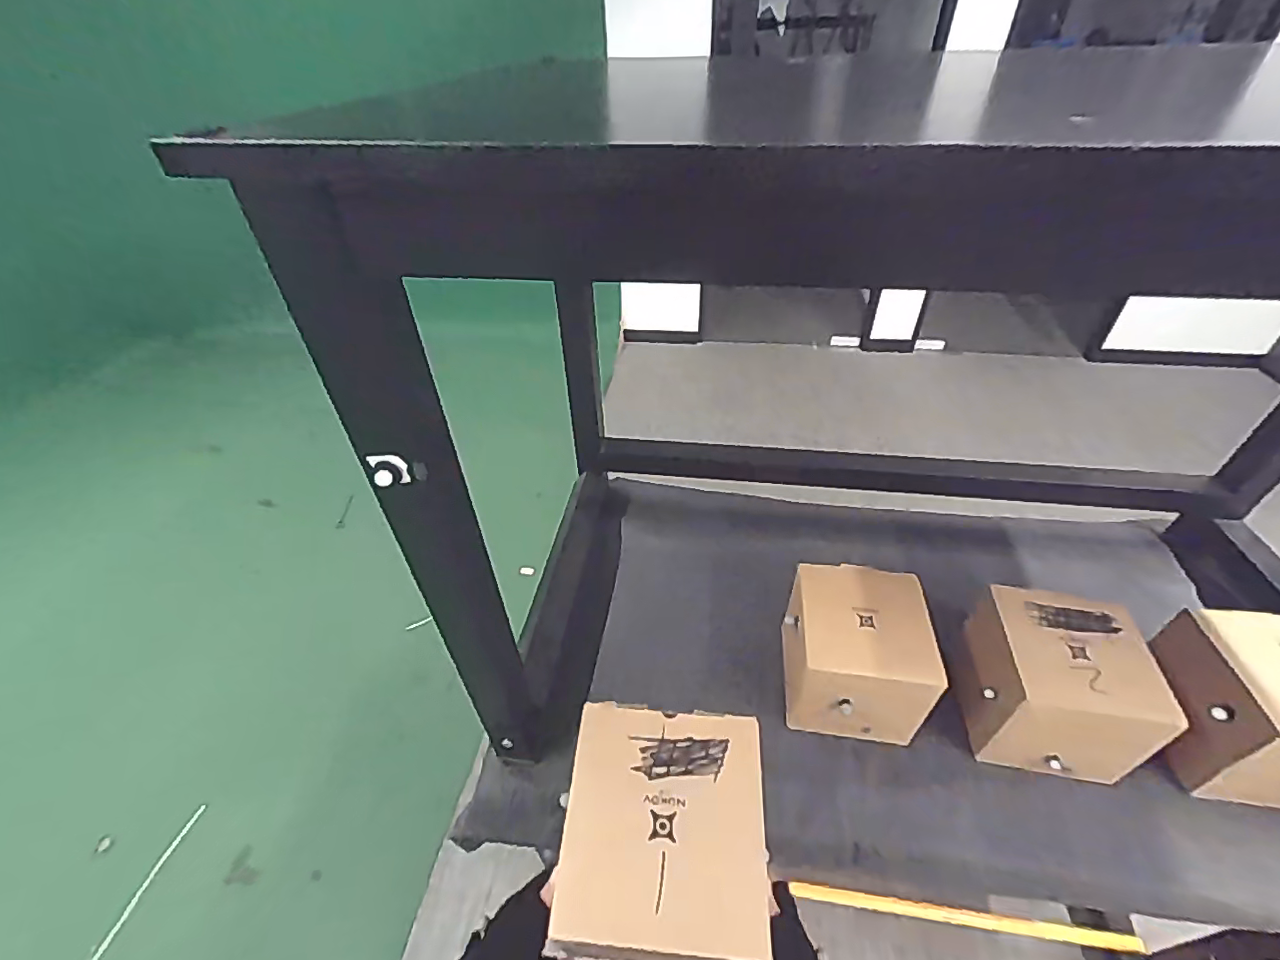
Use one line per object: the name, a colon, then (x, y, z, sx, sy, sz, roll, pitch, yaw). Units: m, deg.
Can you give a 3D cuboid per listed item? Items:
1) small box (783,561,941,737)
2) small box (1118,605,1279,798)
small box: (0.301, 0.242, 0.776, 0.168, 0.176, 0.179, 5, 41, 8)
small box: (0.786, 0.288, 0.697, 0.168, 0.176, 0.179, 4, 40, 7)
